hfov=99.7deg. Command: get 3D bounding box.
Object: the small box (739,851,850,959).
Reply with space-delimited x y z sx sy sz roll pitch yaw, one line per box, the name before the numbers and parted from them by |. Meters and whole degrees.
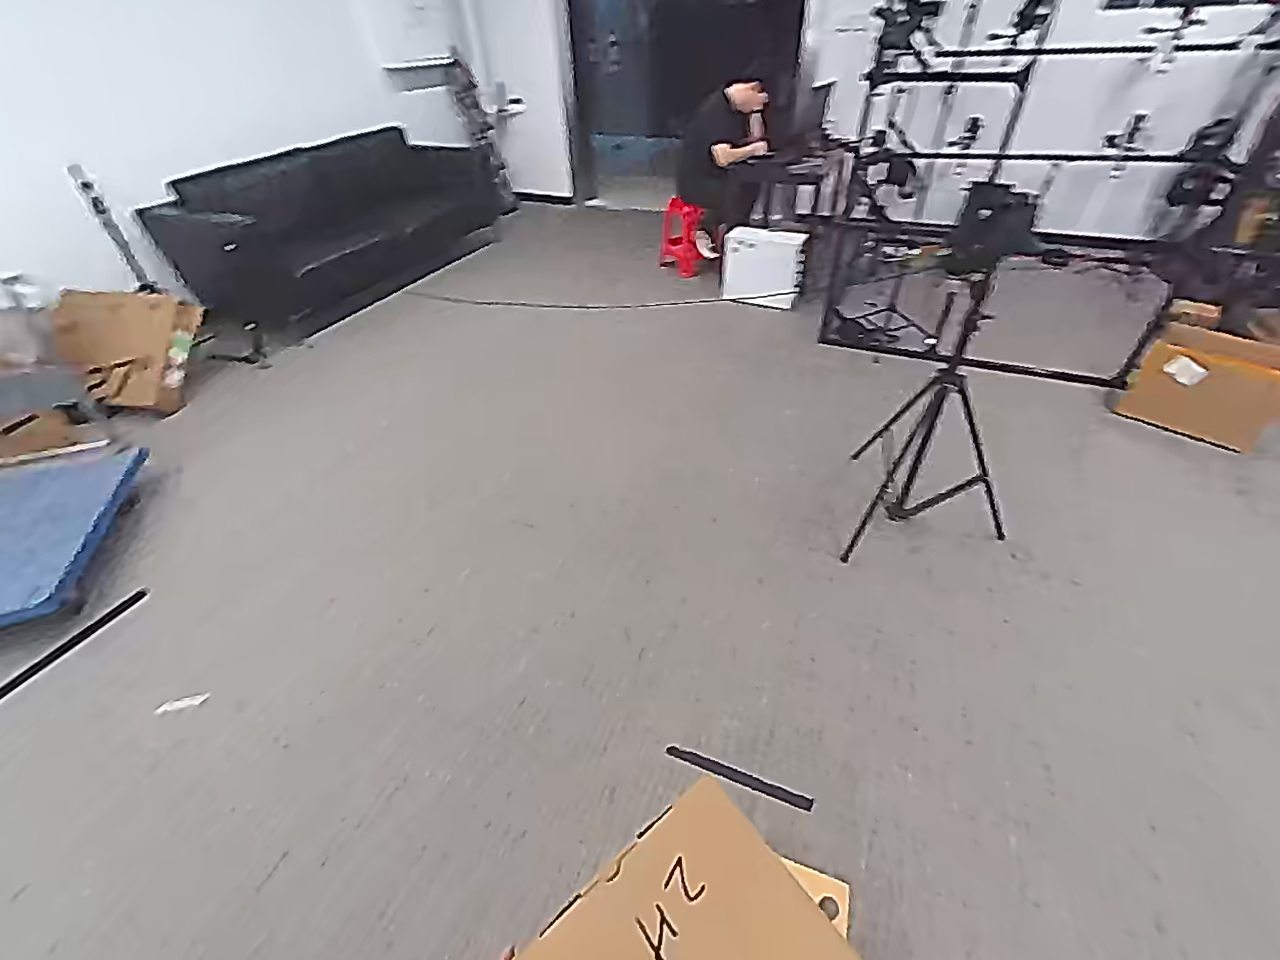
small box | 0.292 0.862 1.036 0.168 0.176 0.179 13 43 16
